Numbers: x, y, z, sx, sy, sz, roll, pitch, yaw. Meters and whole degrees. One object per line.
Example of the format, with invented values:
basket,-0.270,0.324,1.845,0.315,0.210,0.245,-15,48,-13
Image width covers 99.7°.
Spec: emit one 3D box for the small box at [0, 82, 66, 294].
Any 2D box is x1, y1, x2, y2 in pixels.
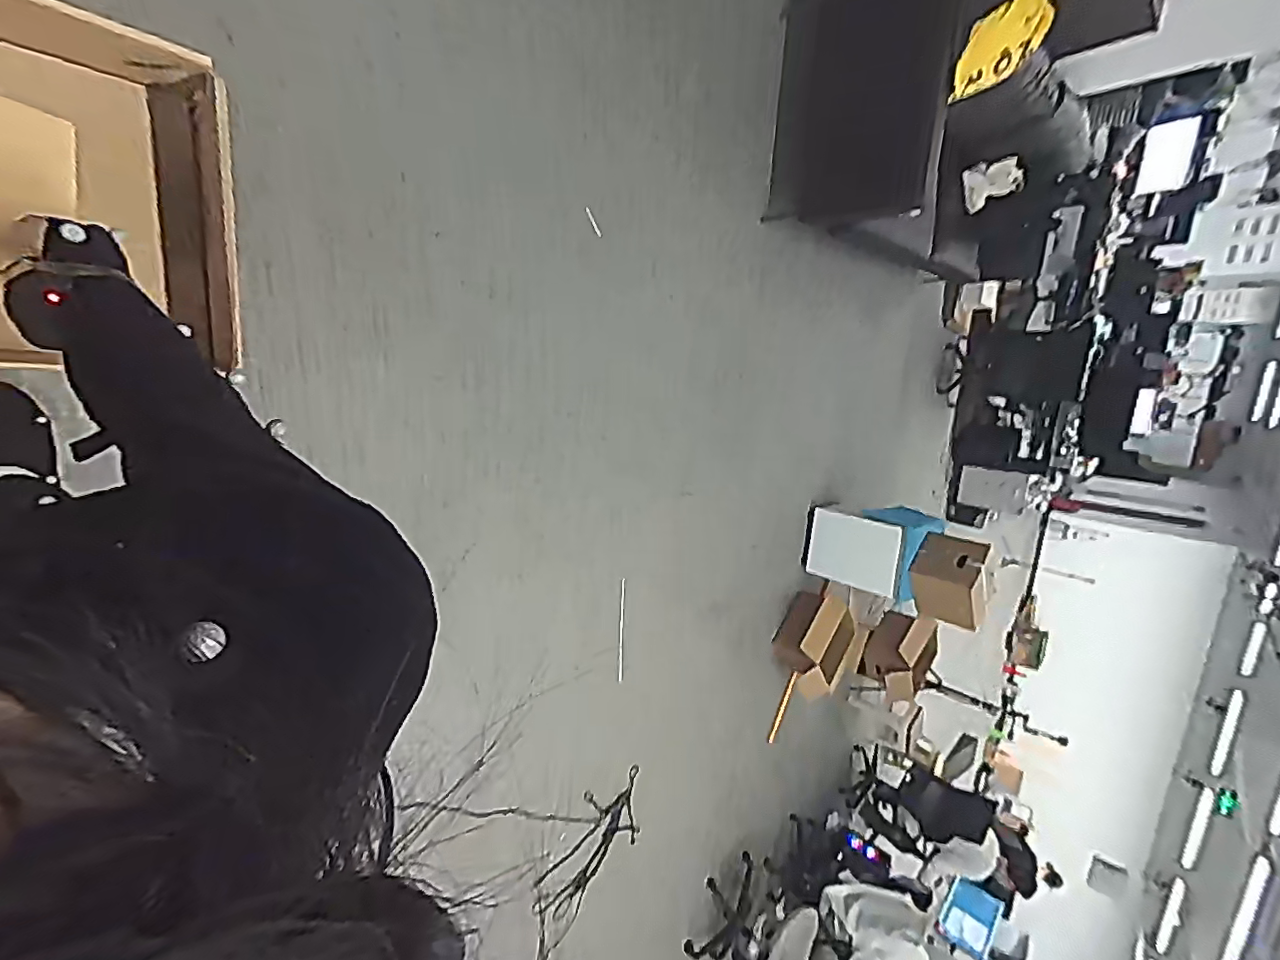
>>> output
small box,-0.707,-0.300,0.532,0.168,0.176,0.179,-2,95,-58
